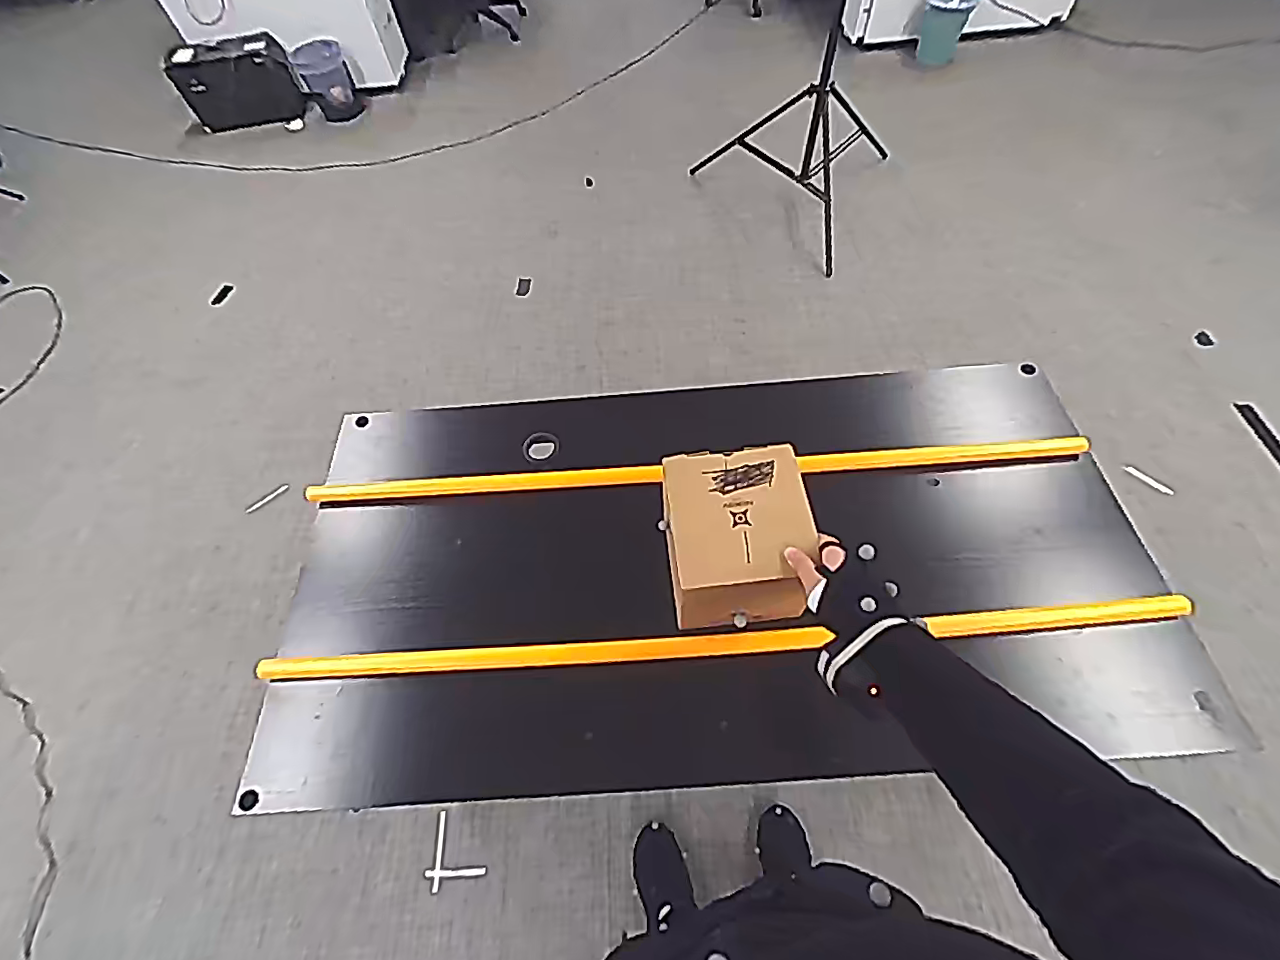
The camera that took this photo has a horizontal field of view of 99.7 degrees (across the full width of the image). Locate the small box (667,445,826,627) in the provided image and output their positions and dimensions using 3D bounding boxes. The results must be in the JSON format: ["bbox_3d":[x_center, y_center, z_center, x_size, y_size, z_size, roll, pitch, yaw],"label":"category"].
[{"bbox_3d":[0.123,0.077,0.708,0.168,0.176,0.179,-6,60,1],"label":"small box"}]
